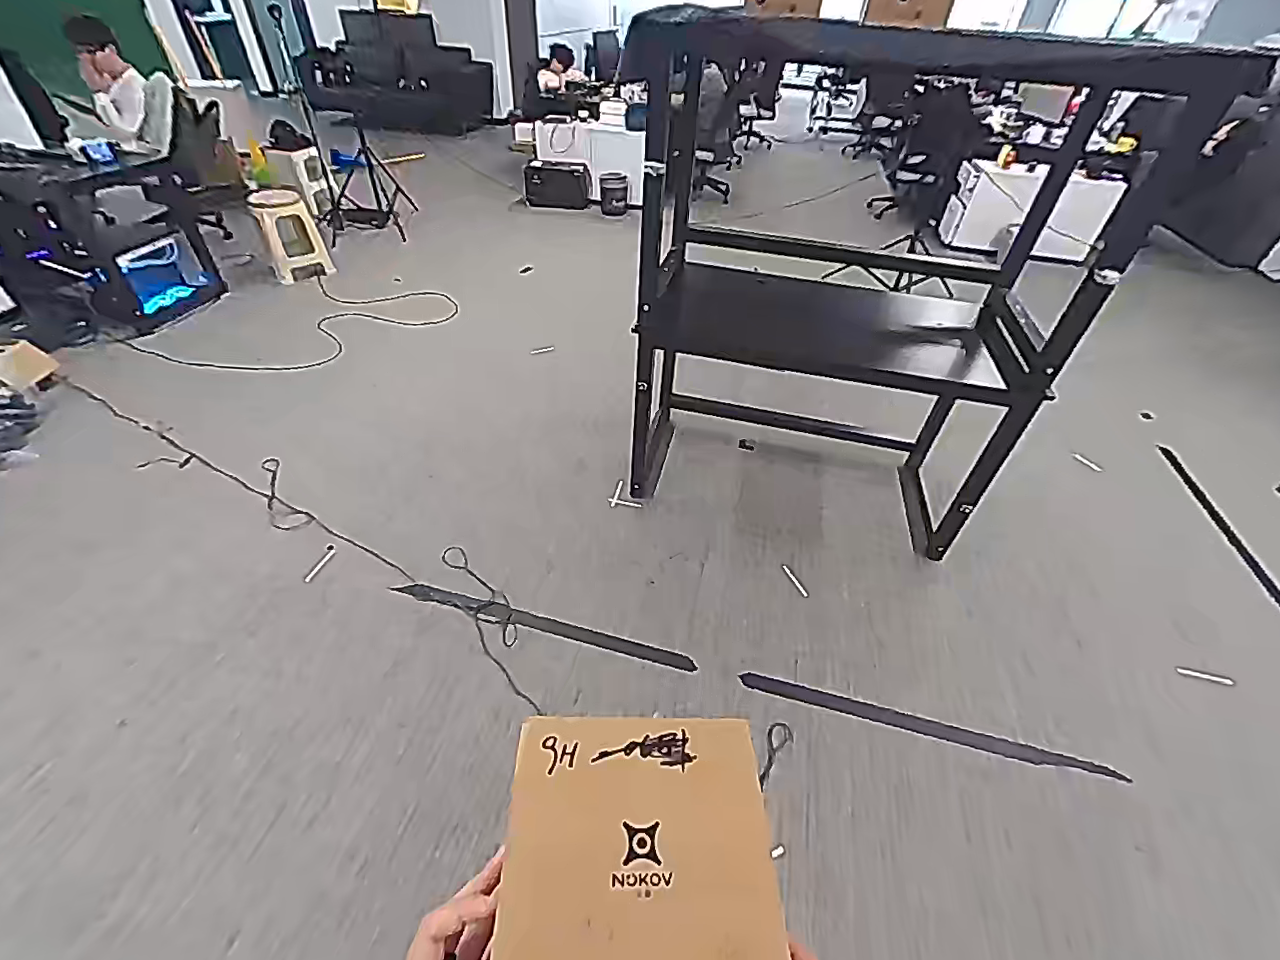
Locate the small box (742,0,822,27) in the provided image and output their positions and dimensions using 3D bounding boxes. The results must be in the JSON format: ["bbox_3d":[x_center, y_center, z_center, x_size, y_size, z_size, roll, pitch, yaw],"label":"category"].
[{"bbox_3d":[0.319,-1.095,1.171,0.168,0.176,0.179,10,40,6],"label":"small box"}]

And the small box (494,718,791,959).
[{"bbox_3d":[-0.004,0.289,0.380,0.168,0.176,0.179,3,42,-5],"label":"small box"}]

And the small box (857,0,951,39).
[{"bbox_3d":[0.569,-1.050,1.142,0.168,0.176,0.179,11,41,8],"label":"small box"}]
